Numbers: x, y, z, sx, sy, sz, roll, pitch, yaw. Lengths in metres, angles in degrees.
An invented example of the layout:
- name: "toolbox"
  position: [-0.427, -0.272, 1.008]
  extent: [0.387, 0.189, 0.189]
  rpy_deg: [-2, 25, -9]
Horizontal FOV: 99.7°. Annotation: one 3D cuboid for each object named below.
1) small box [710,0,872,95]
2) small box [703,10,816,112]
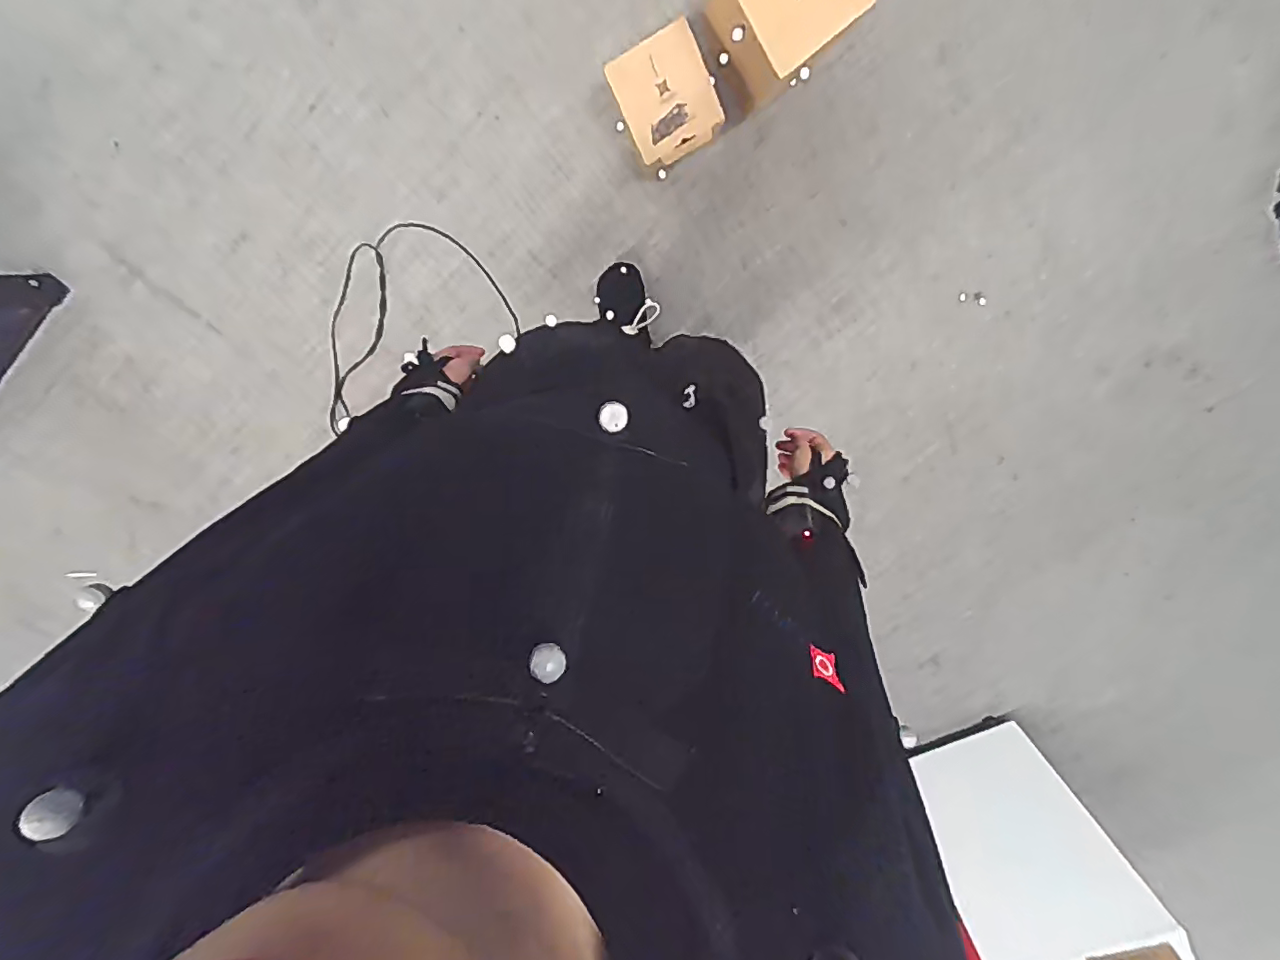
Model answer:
- name: "small box"
  position: [0.227, -0.749, 0.851]
  extent: [0.168, 0.176, 0.179]
  rpy_deg: [-34, 107, 14]
- name: "small box"
  position: [0.230, -0.828, 0.995]
  extent: [0.168, 0.176, 0.179]
  rpy_deg: [-34, 107, 13]
